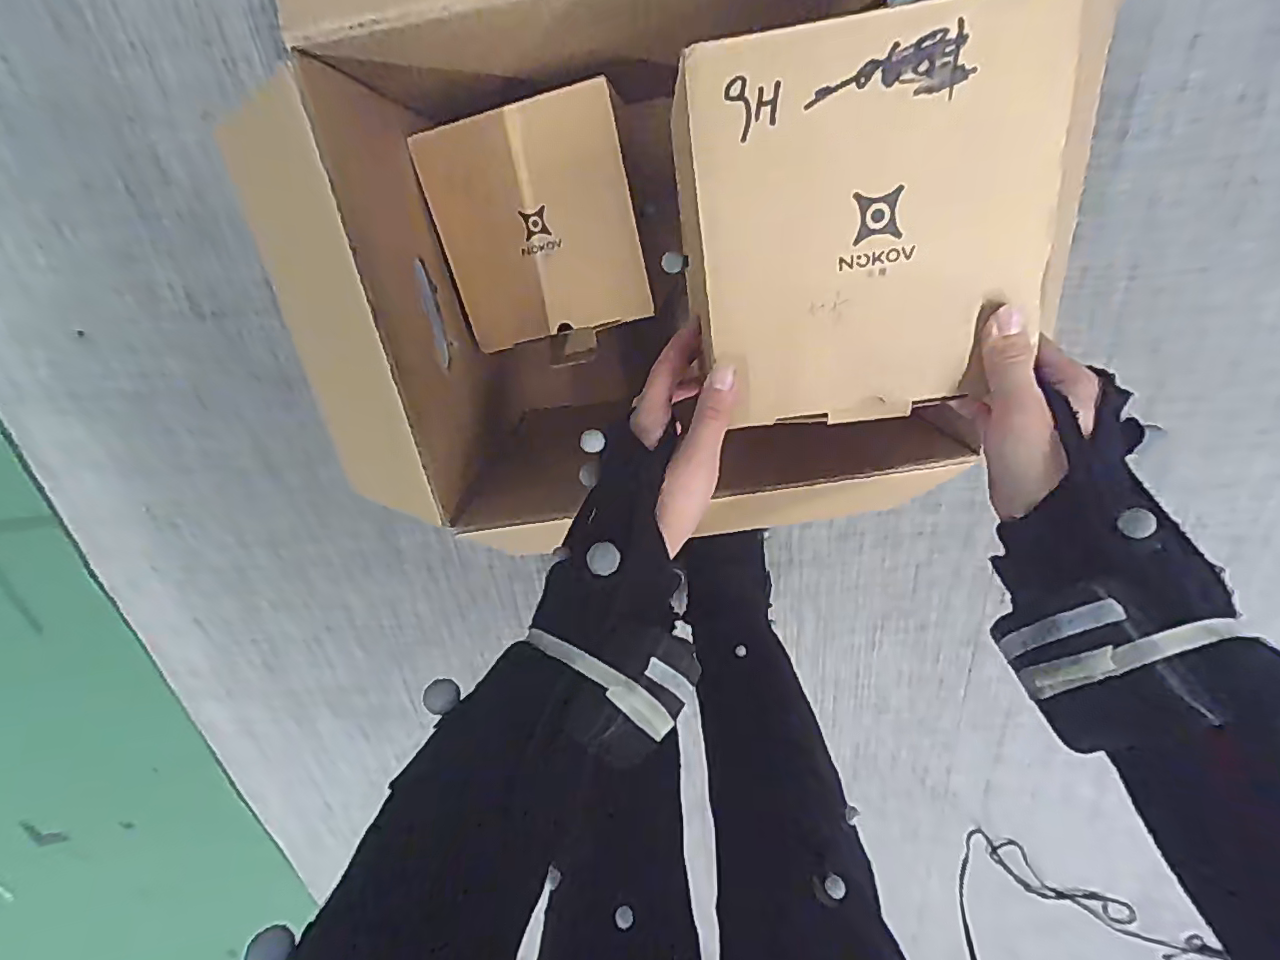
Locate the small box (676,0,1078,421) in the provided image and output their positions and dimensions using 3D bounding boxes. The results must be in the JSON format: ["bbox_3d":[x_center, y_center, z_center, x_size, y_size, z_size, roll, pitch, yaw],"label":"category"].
[{"bbox_3d":[0.113,-0.152,0.335,0.168,0.176,0.179,-7,114,5],"label":"small box"}]
